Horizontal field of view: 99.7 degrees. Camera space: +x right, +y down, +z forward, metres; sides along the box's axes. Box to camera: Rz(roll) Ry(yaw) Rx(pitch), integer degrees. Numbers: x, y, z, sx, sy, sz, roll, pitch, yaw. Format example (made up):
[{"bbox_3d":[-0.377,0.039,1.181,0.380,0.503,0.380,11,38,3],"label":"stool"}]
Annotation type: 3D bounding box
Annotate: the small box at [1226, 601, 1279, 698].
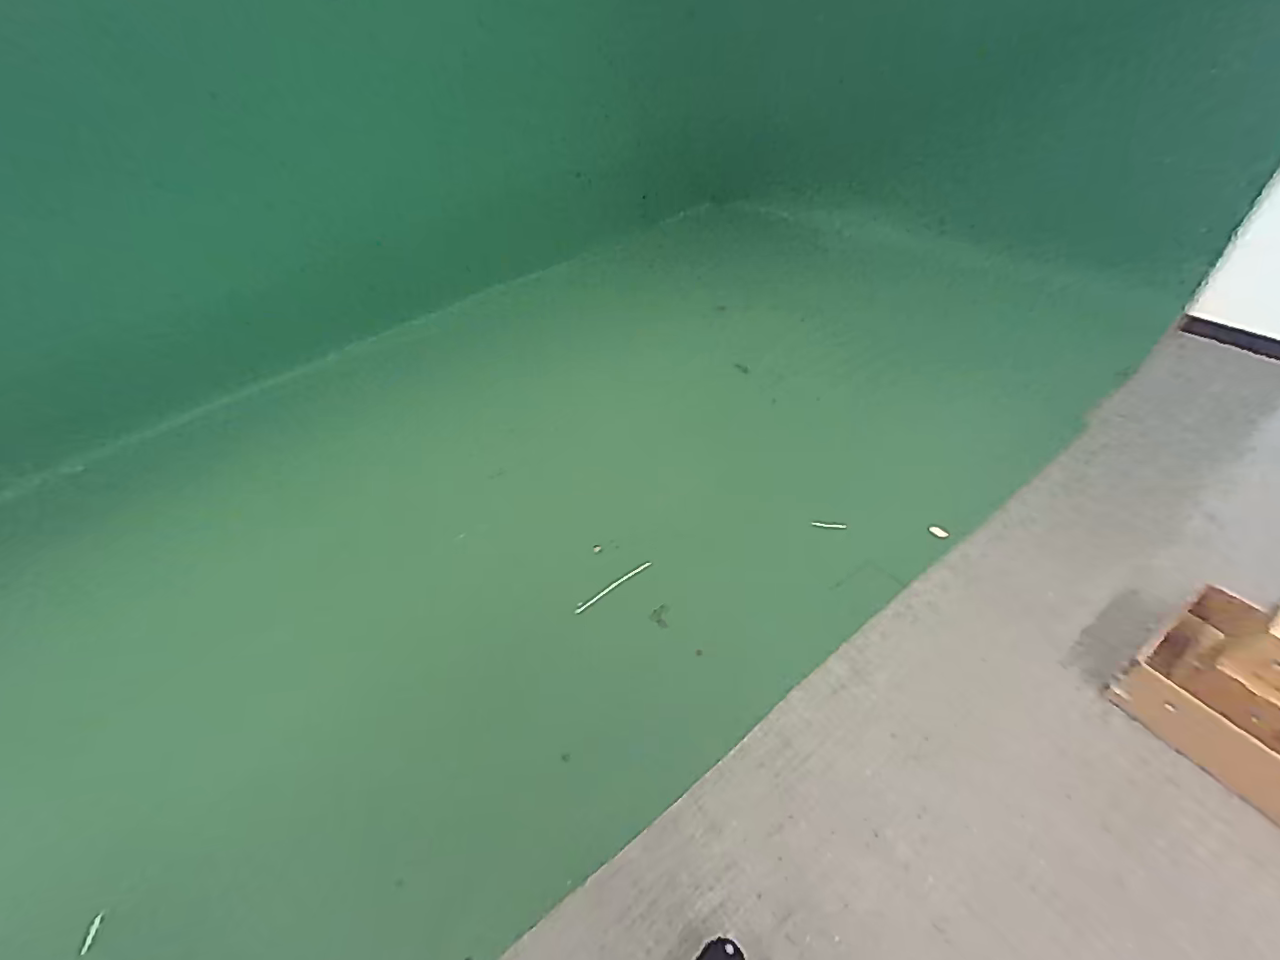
[{"bbox_3d":[1.518,0.395,1.237,0.179,0.176,0.168,-32,52,-21],"label":"small box"}]
